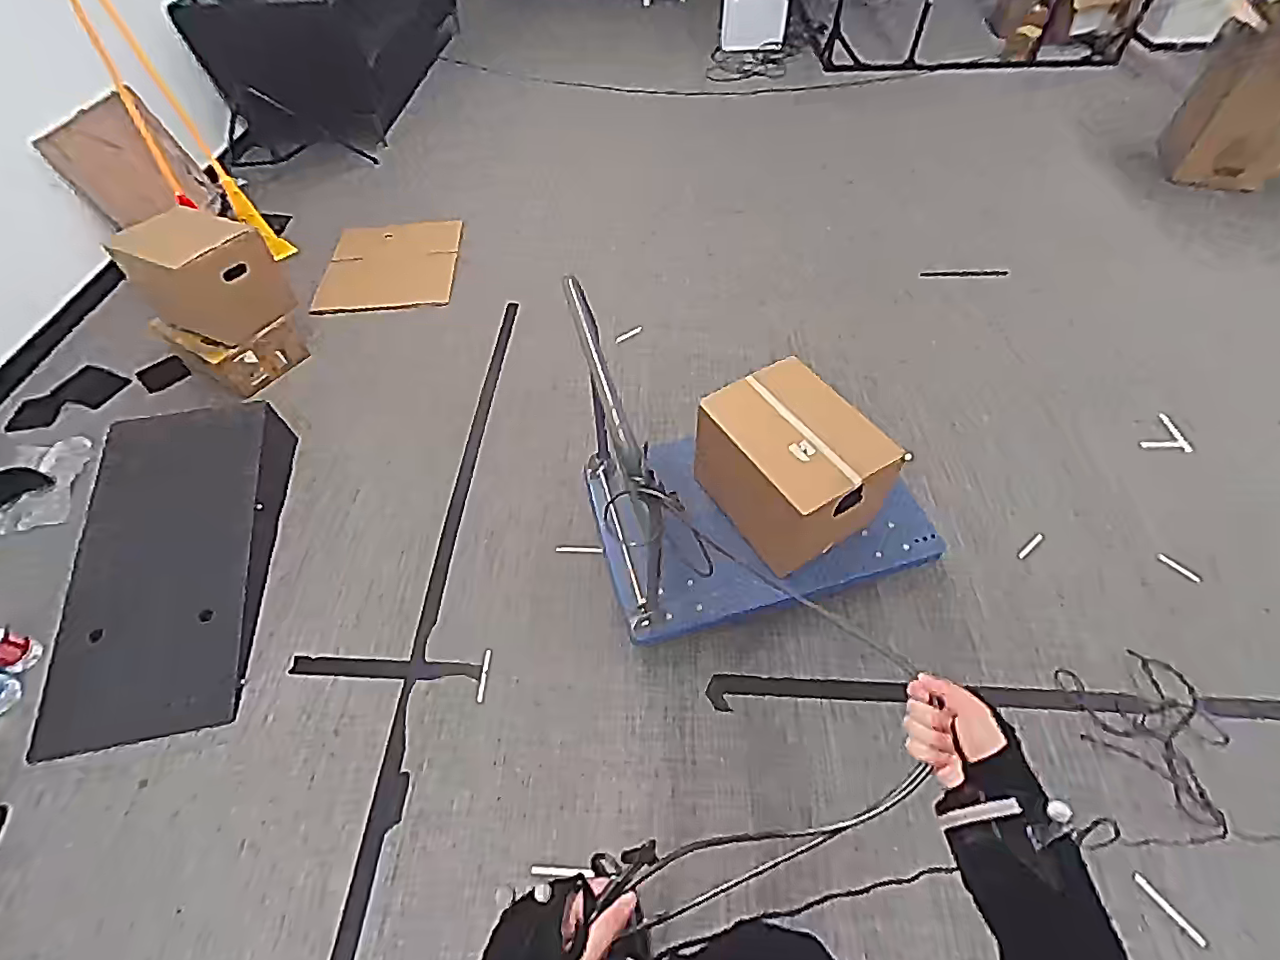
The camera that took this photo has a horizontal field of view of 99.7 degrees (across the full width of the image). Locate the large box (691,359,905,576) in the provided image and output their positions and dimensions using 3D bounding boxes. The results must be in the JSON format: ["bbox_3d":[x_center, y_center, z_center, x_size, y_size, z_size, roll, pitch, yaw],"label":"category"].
[{"bbox_3d":[0.374,-0.035,1.404,0.320,0.320,0.408,-28,59,-16],"label":"large box"}]
